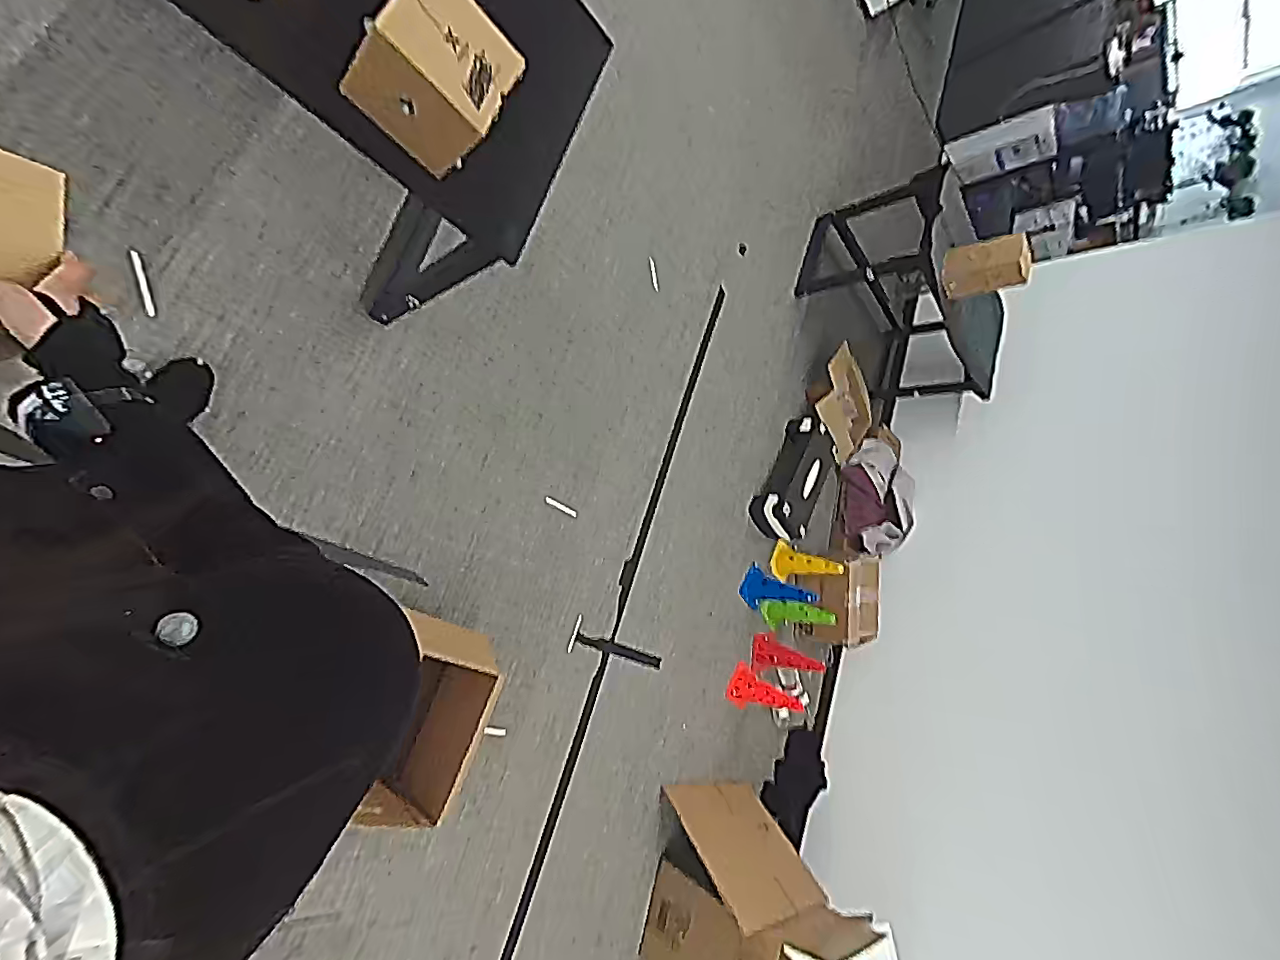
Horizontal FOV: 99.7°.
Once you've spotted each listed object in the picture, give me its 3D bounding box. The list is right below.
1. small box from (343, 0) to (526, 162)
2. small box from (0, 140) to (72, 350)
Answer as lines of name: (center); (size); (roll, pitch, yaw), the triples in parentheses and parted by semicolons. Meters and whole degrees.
small box: (-0.313, -0.626, 0.825); (0.179, 0.176, 0.168); (34, 68, -38)
small box: (-0.647, -0.214, 0.469); (0.179, 0.176, 0.168); (0, 90, -61)
